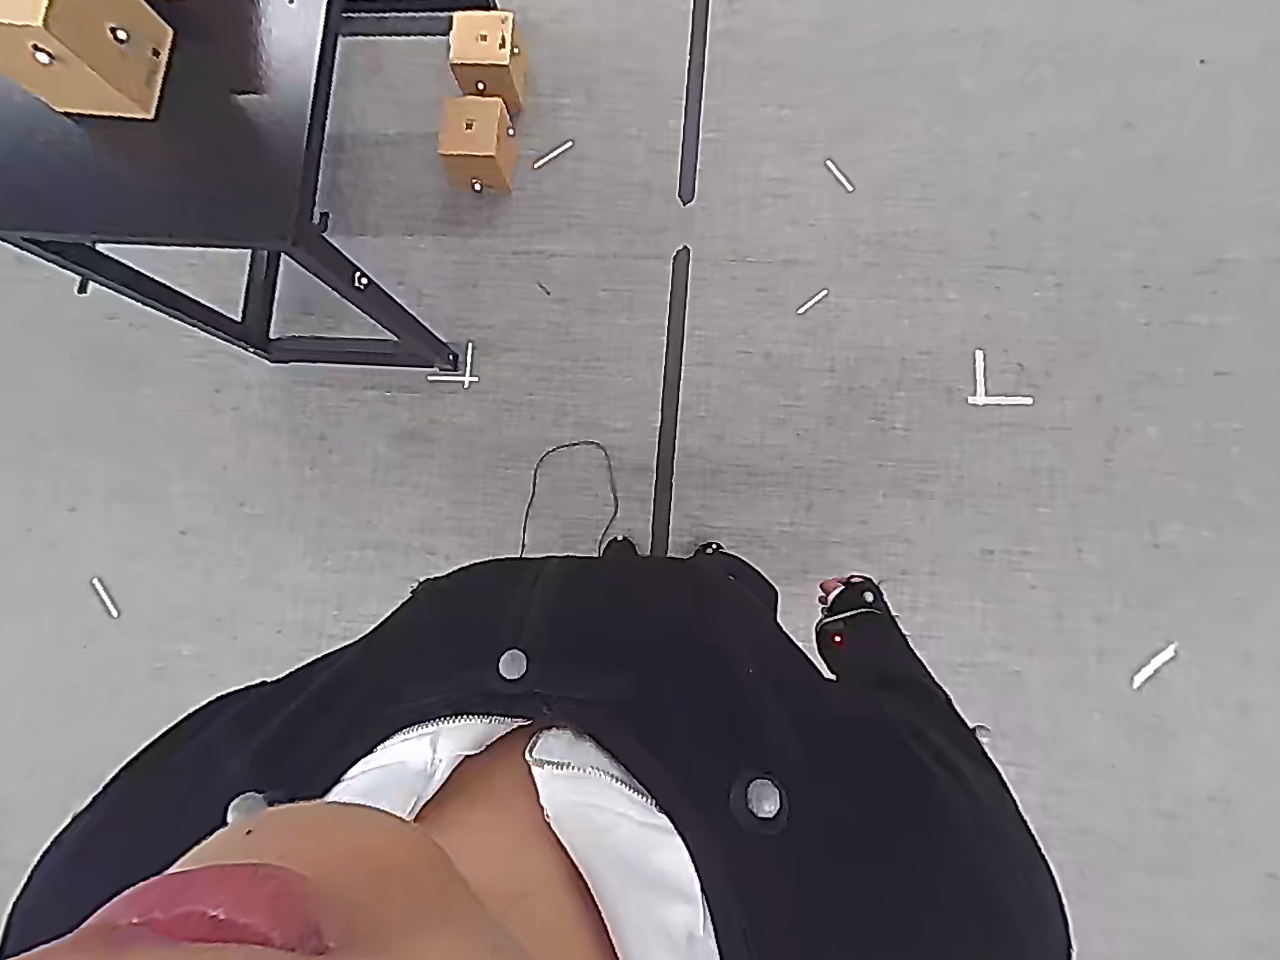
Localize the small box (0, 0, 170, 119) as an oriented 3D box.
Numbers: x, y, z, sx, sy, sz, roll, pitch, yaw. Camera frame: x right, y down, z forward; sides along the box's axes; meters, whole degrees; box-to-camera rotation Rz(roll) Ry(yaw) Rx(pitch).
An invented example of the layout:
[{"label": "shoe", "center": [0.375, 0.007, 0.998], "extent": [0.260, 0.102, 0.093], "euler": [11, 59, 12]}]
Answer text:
[{"label": "small box", "center": [-0.891, -0.699, 0.838], "extent": [0.179, 0.176, 0.168], "euler": [7, 84, 4]}]

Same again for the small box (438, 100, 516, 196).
[{"label": "small box", "center": [-0.468, -0.966, 1.581], "extent": [0.168, 0.176, 0.179], "euler": [3, 85, 4]}]

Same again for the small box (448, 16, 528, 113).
[{"label": "small box", "center": [-0.446, -1.227, 1.606], "extent": [0.179, 0.176, 0.168], "euler": [3, 85, 4]}]
